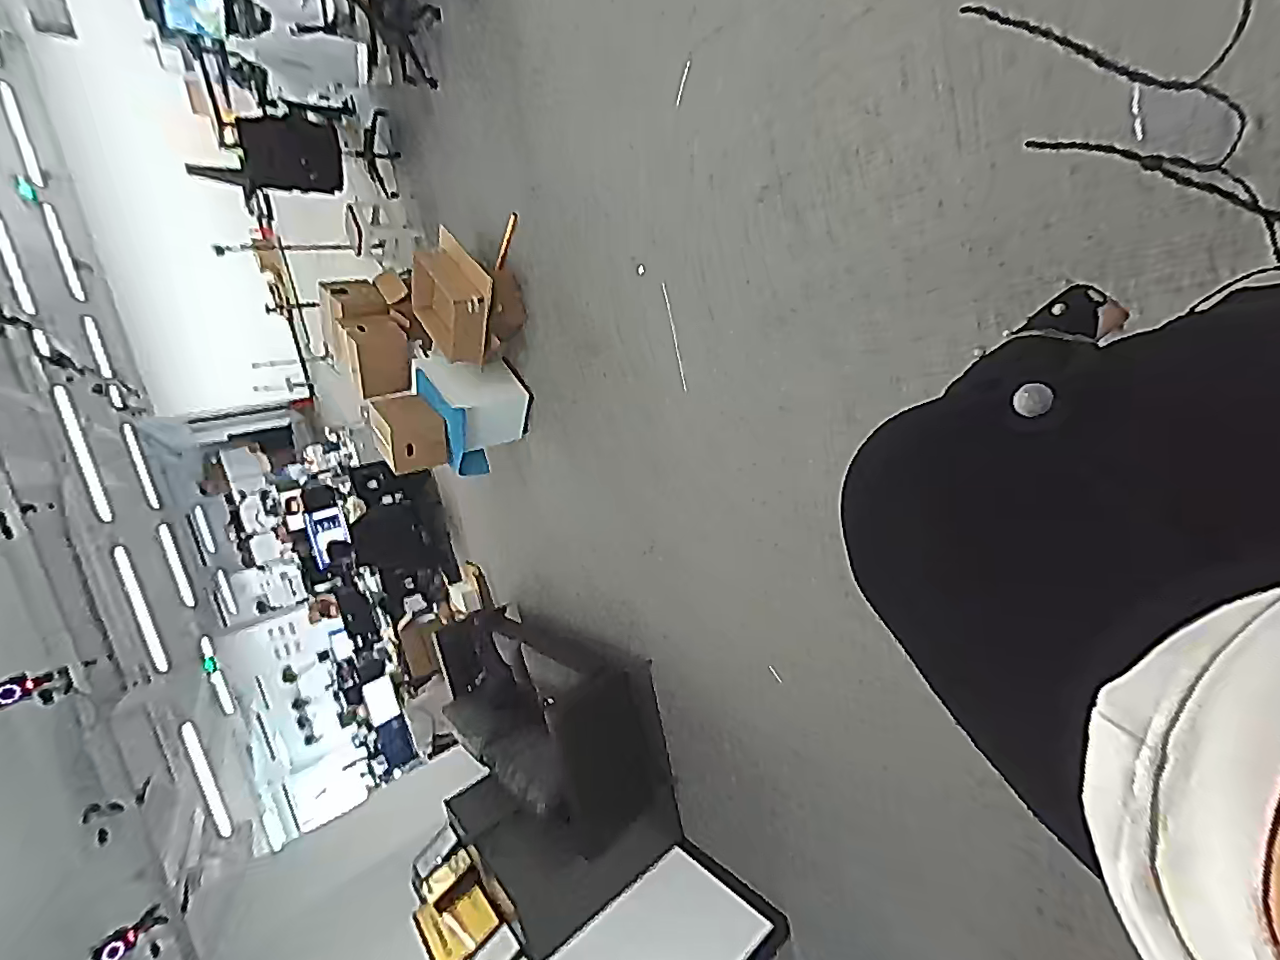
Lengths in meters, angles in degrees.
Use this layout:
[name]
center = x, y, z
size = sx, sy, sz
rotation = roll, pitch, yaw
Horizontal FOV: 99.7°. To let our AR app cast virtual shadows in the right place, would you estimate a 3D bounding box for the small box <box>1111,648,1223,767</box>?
[small box]
center = 1.234, 0.519, 1.266
size = 0.168, 0.176, 0.179
rotation = 0, 105, 54
